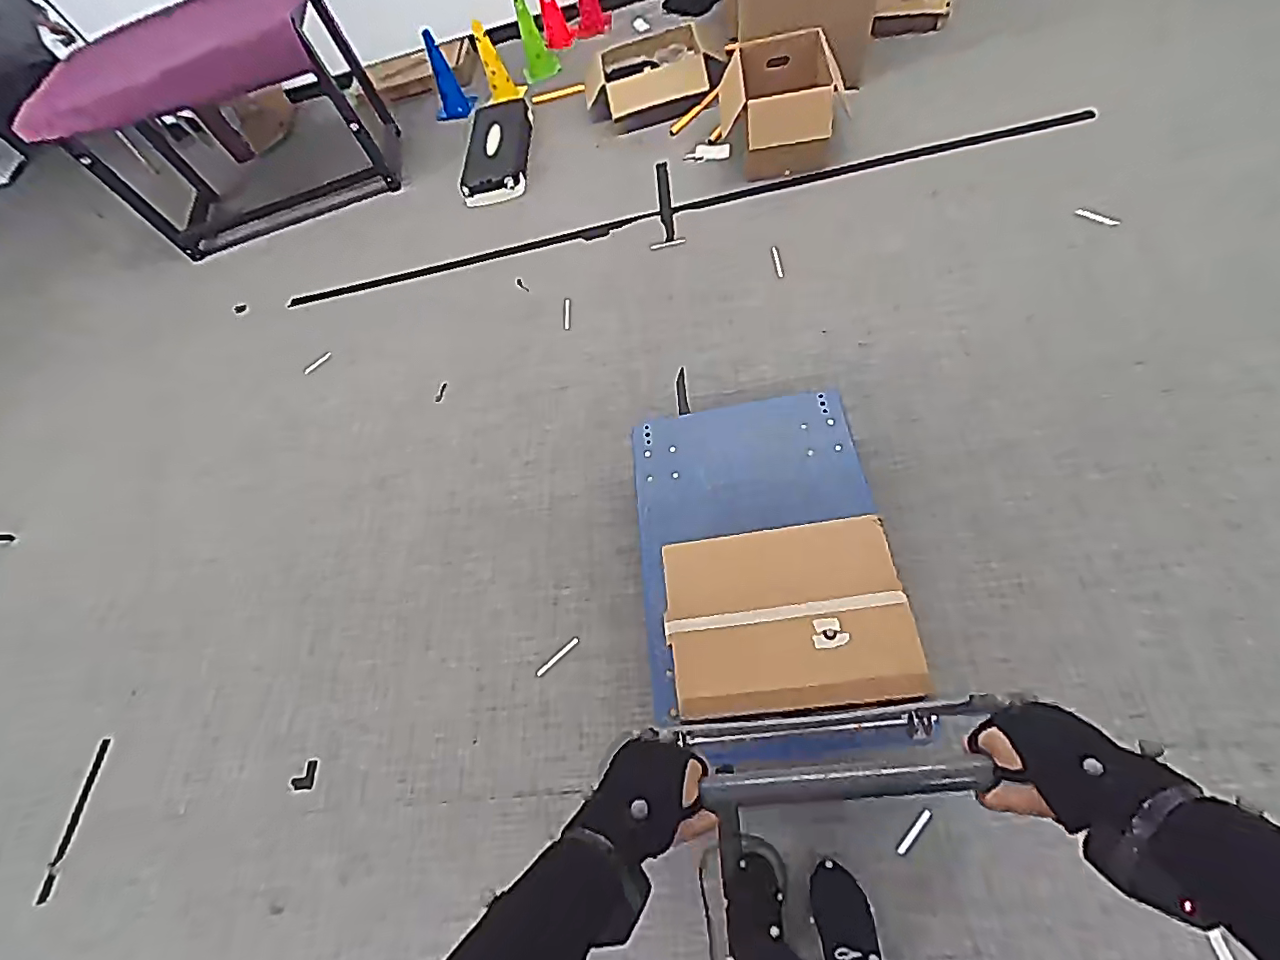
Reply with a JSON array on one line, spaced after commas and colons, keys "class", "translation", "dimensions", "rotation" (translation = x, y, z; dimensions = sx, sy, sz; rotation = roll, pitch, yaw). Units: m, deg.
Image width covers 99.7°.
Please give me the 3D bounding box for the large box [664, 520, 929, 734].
[{"class": "large box", "translation": [0.281, 0.310, 1.082], "dimensions": [0.408, 0.320, 0.320], "rotation": [-10, 62, 7]}]
